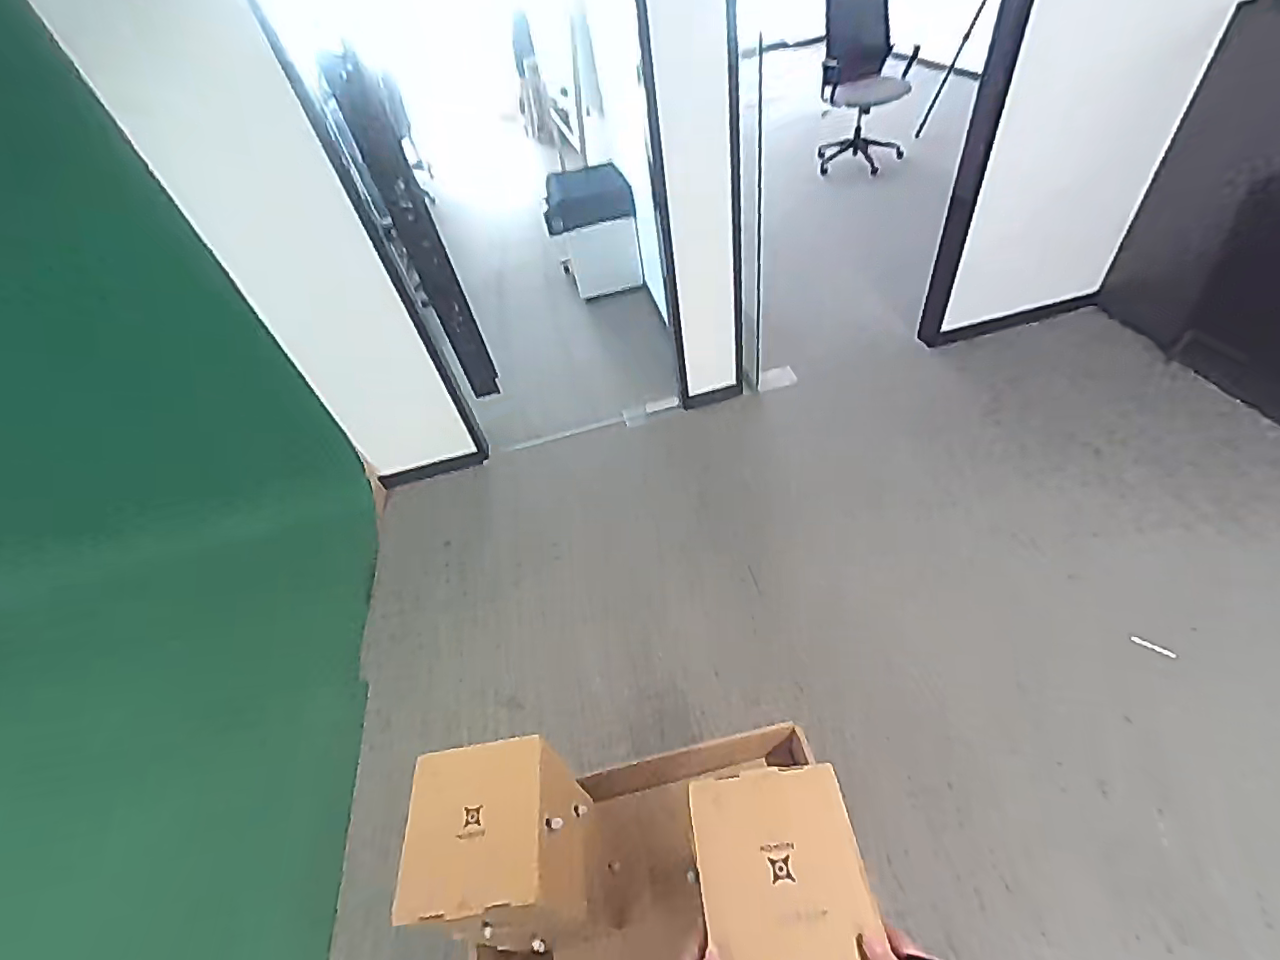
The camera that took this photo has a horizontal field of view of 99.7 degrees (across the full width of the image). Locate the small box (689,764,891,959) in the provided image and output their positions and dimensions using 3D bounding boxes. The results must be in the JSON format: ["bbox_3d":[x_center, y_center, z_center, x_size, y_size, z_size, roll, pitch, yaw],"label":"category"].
[{"bbox_3d":[0.144,0.439,0.594,0.168,0.176,0.179,-6,45,0],"label":"small box"}]

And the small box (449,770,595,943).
[{"bbox_3d":[-0.168,0.568,0.815,0.168,0.176,0.179,-11,46,1],"label":"small box"}]

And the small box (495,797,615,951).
[{"bbox_3d":[-0.144,0.680,0.932,0.168,0.176,0.179,-12,46,0],"label":"small box"}]

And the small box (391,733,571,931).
[{"bbox_3d":[-0.188,0.455,0.699,0.168,0.176,0.179,-10,46,2],"label":"small box"}]
